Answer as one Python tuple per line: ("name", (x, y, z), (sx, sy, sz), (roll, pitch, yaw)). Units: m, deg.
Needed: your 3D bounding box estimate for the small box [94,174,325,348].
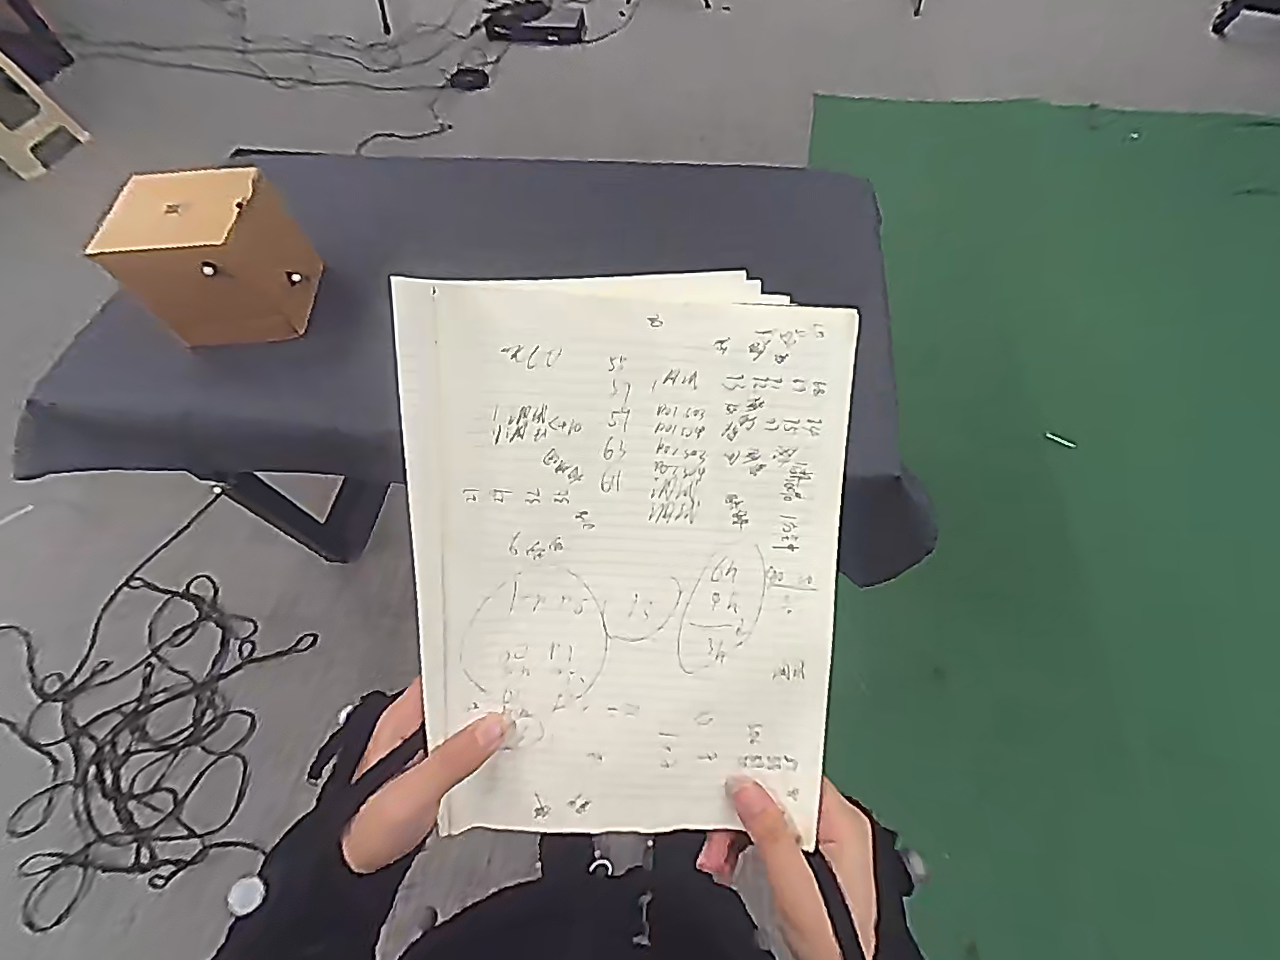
("small box", (-0.600, -0.309, 0.783), (0.179, 0.176, 0.168), (-5, 60, -1))
